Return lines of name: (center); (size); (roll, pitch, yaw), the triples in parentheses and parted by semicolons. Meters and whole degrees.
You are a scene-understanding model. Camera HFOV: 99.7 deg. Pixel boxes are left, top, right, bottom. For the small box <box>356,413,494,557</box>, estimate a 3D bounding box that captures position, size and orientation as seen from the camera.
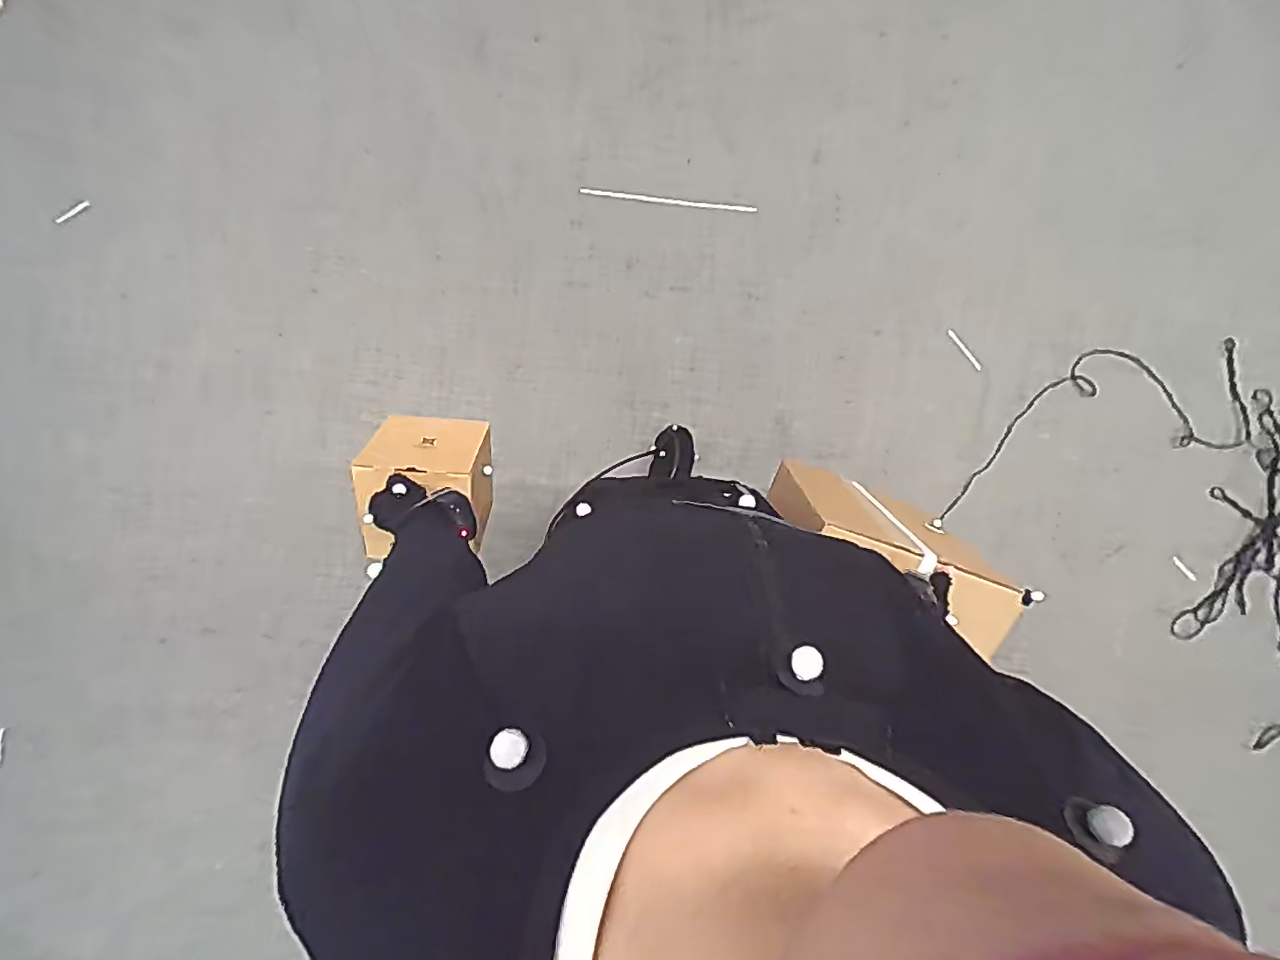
small box: (-0.338, 0.005, 0.888); (0.168, 0.179, 0.176); (3, 121, -6)
